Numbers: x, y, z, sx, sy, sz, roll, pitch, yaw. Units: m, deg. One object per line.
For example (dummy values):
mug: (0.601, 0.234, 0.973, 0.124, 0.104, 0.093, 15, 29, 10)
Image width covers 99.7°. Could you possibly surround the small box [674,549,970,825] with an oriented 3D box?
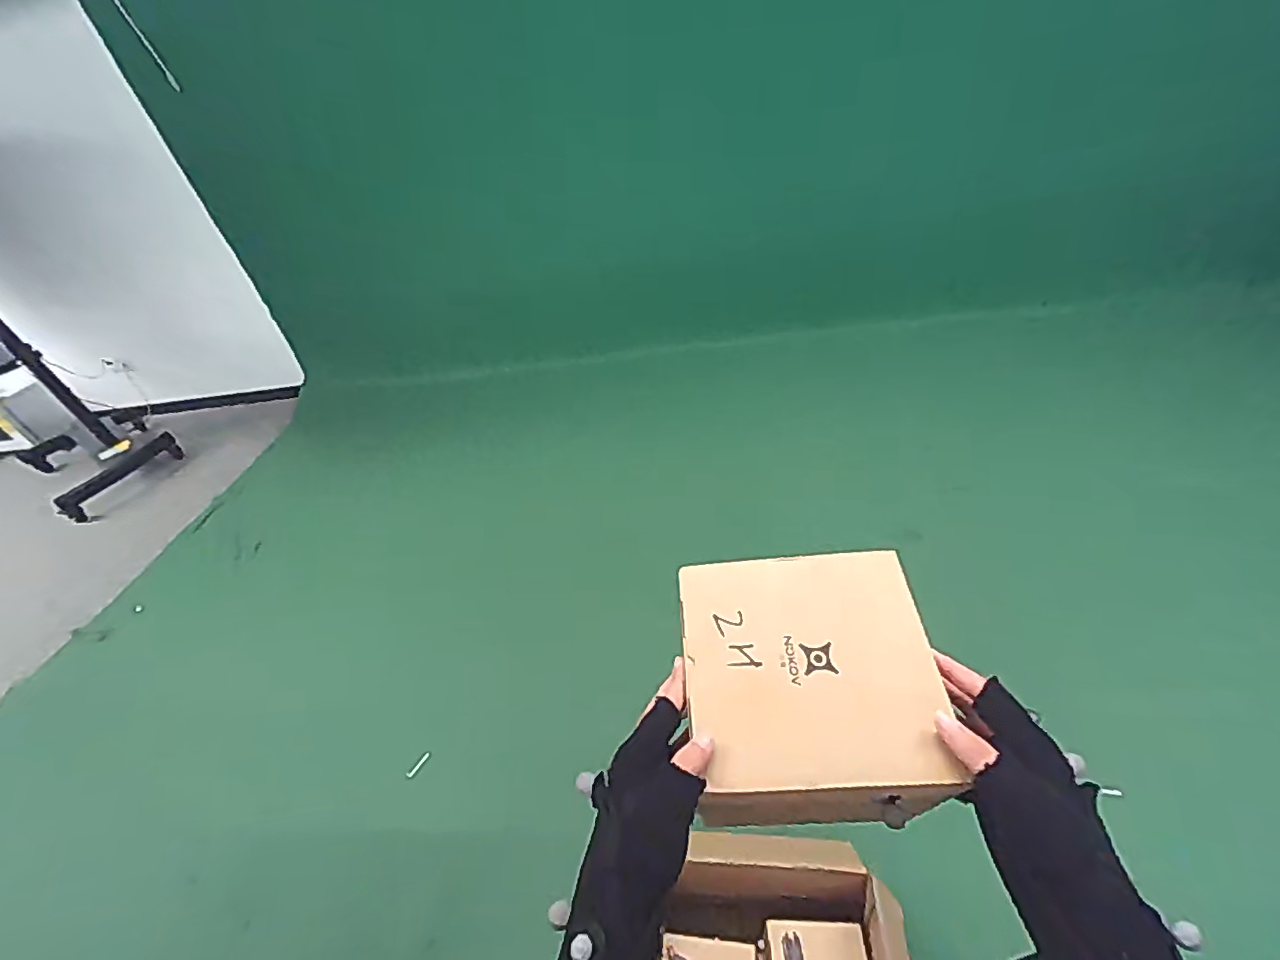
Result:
small box: (0.124, 0.174, 0.443, 0.179, 0.176, 0.168, -6, 51, 5)
